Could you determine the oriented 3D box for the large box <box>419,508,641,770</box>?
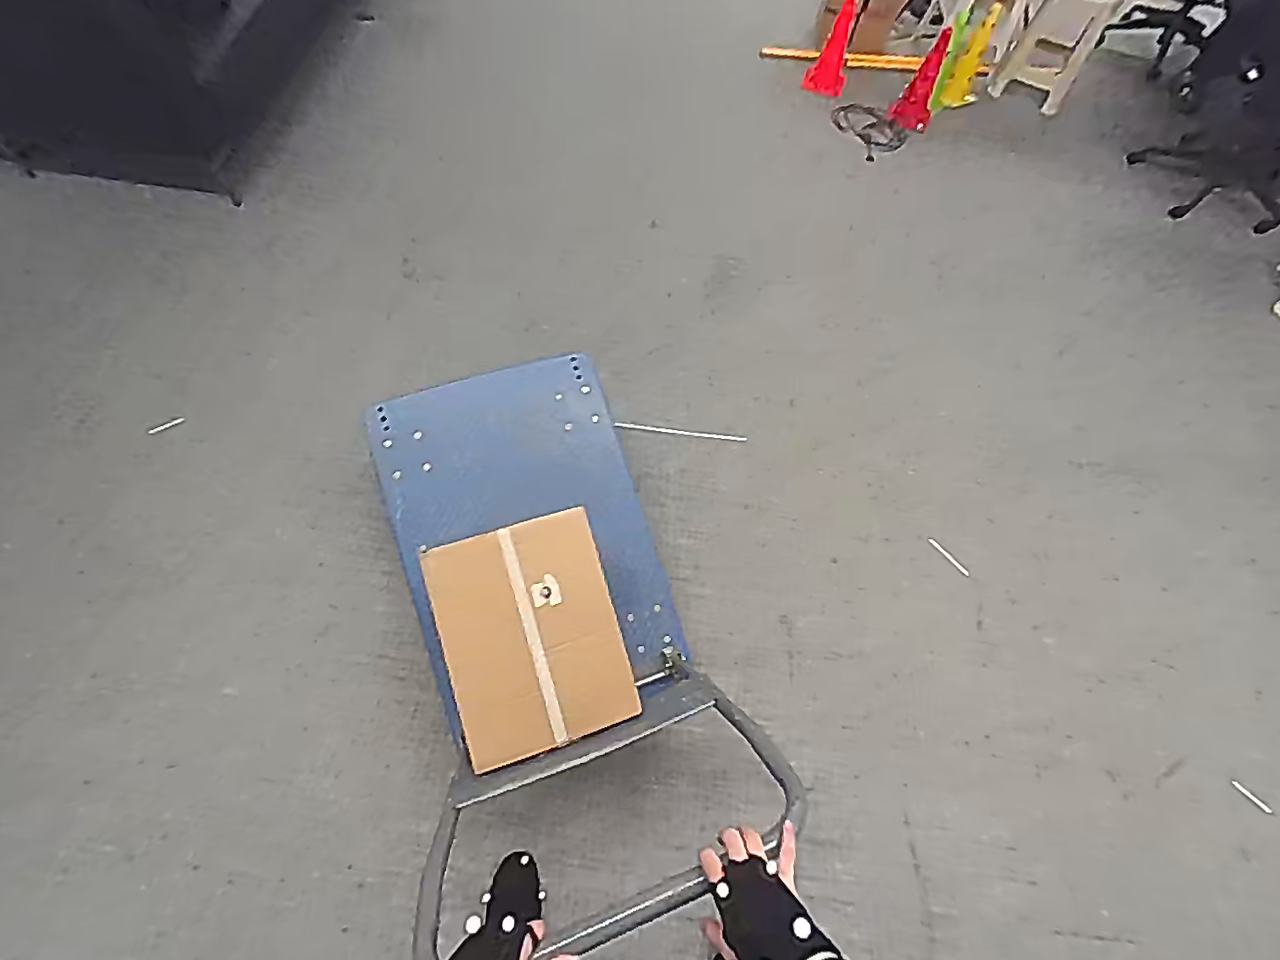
[{"bbox_3d":[-0.222,0.307,1.142,0.320,0.320,0.408,-17,84,-12],"label":"large box"}]
